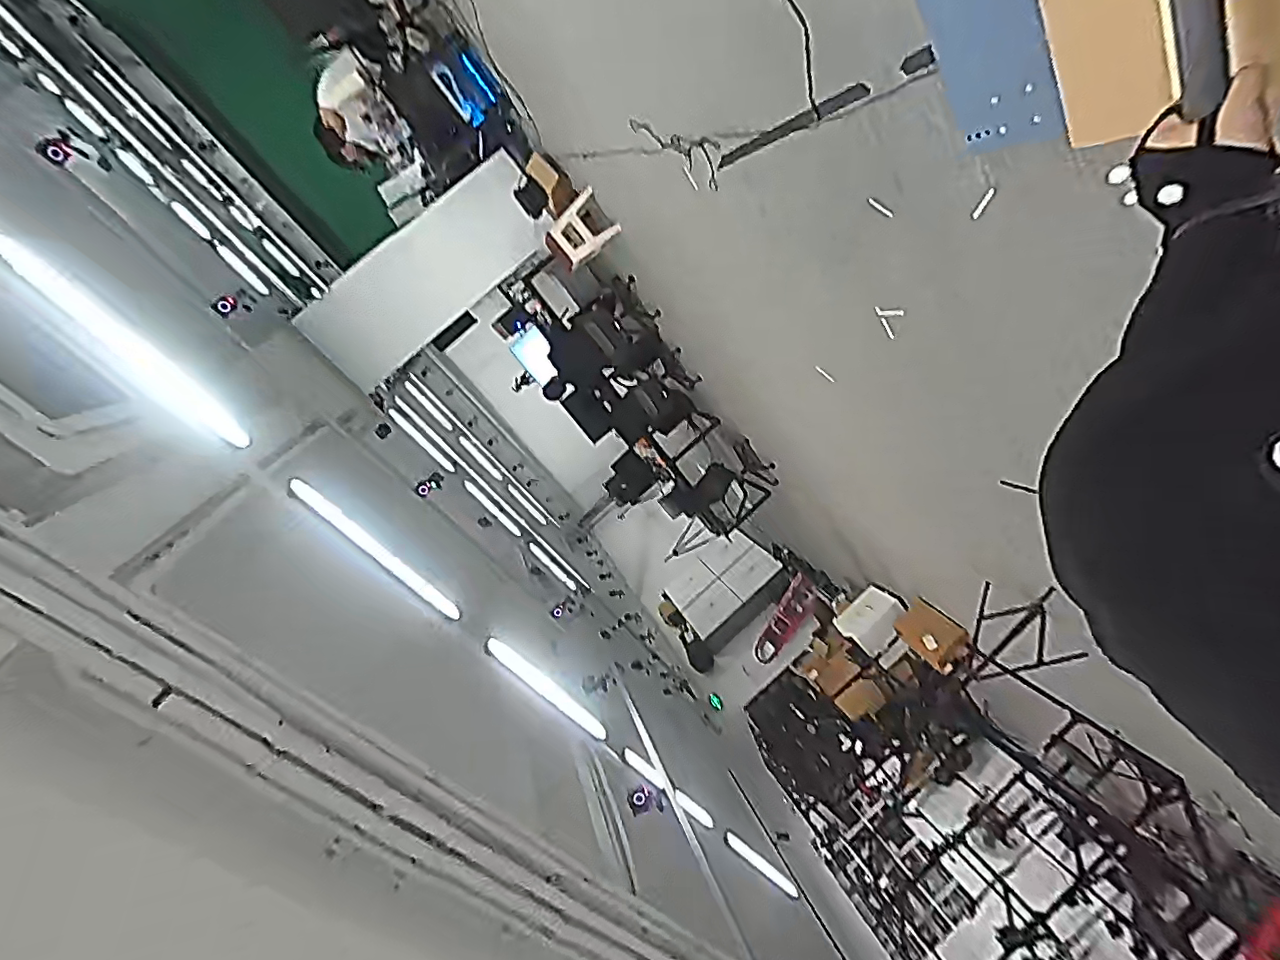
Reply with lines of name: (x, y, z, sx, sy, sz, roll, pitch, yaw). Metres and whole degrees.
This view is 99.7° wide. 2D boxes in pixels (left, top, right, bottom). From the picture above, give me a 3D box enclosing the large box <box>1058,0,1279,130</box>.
large box: (0.778, -0.756, 0.668, 0.408, 0.320, 0.320, 50, 176, -26)
